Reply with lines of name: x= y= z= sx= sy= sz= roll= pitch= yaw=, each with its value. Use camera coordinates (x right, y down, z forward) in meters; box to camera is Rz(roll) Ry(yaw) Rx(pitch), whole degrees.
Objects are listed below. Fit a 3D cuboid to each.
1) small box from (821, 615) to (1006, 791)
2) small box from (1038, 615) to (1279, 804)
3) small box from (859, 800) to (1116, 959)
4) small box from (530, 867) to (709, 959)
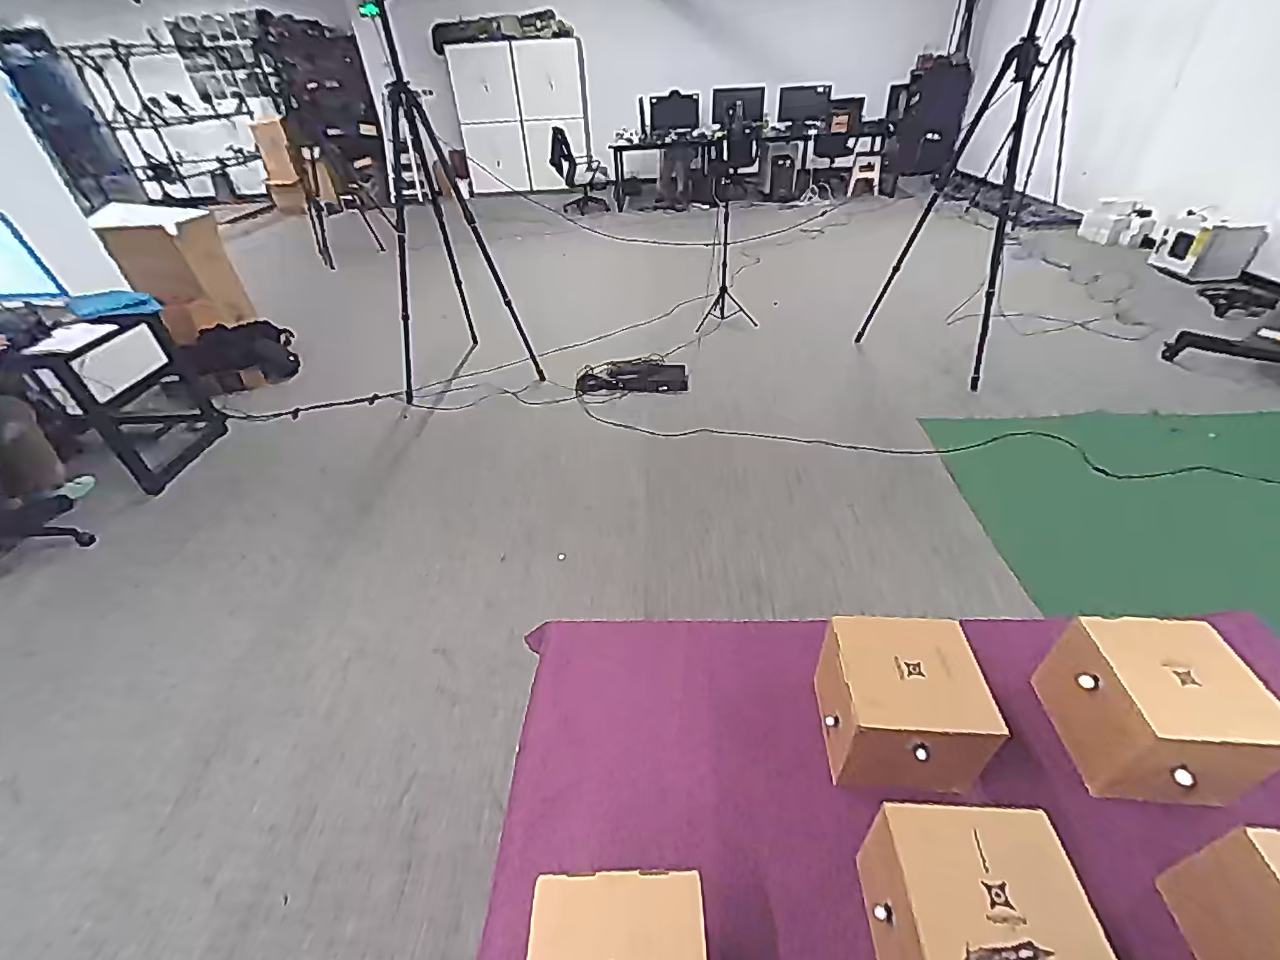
small box: x=0.355 y=0.307 z=0.748 sx=0.179 sy=0.176 sz=0.168 roll=1 pitch=39 yaw=6
small box: x=0.681 y=0.303 z=0.719 sx=0.168 sy=0.176 sz=0.179 roll=0 pitch=37 yaw=7
small box: x=0.338 y=0.458 z=0.550 sx=0.168 sy=0.176 sz=0.179 roll=0 pitch=37 yaw=5
small box: x=-0.016 y=0.507 z=0.521 sx=0.168 sy=0.176 sz=0.179 roll=-3 pitch=37 yaw=2
